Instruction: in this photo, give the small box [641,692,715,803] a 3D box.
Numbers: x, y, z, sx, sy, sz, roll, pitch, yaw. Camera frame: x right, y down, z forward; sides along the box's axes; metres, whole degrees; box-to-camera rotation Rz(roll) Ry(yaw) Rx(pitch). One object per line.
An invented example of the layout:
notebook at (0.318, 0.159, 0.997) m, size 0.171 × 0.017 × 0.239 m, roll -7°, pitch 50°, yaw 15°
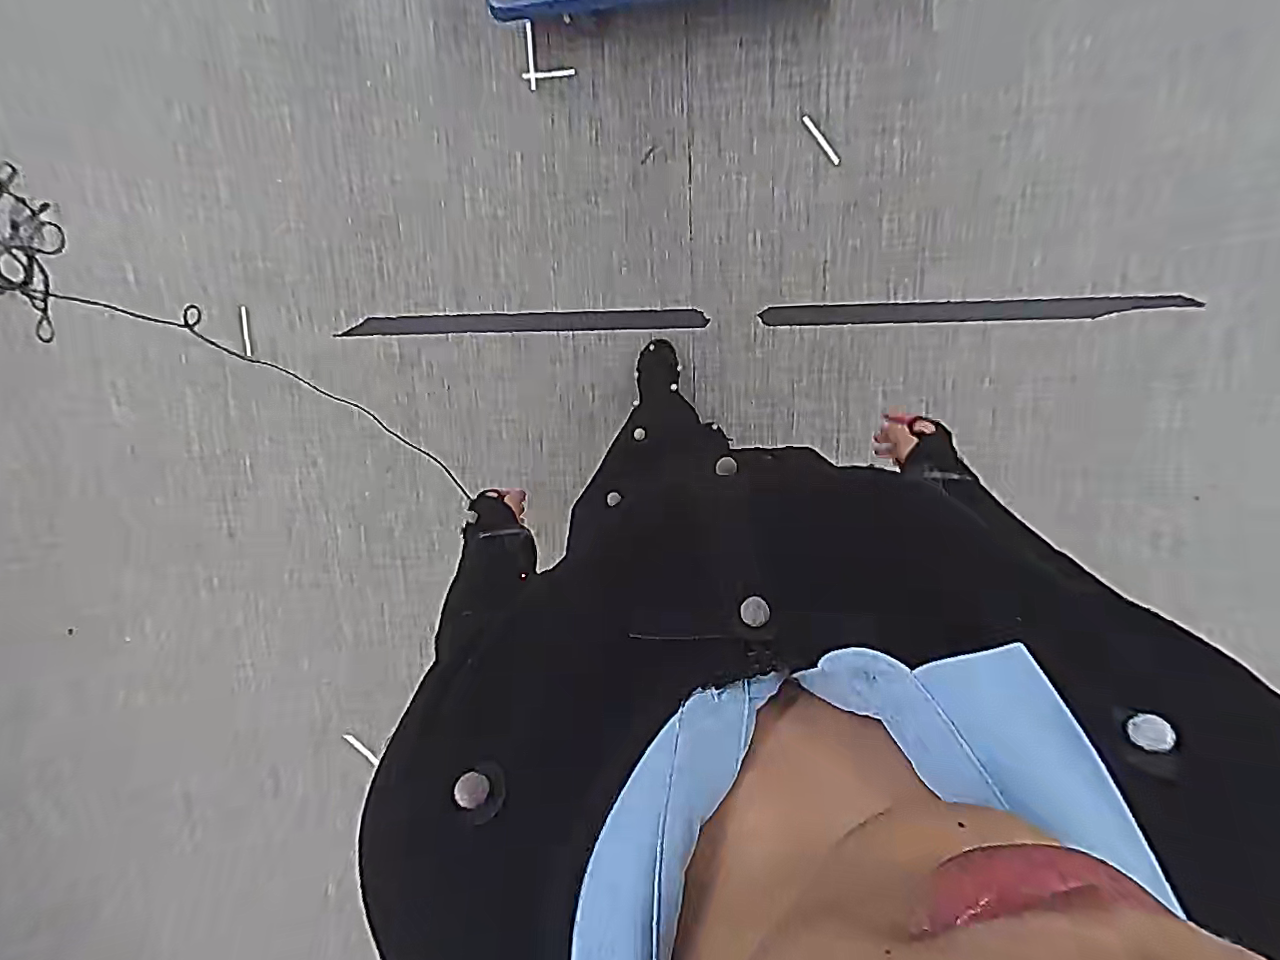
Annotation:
small box at (0.095, 0.662, 1.351) m, size 0.168 × 0.176 × 0.179 m, roll 4°, pitch 99°, yaw 4°
